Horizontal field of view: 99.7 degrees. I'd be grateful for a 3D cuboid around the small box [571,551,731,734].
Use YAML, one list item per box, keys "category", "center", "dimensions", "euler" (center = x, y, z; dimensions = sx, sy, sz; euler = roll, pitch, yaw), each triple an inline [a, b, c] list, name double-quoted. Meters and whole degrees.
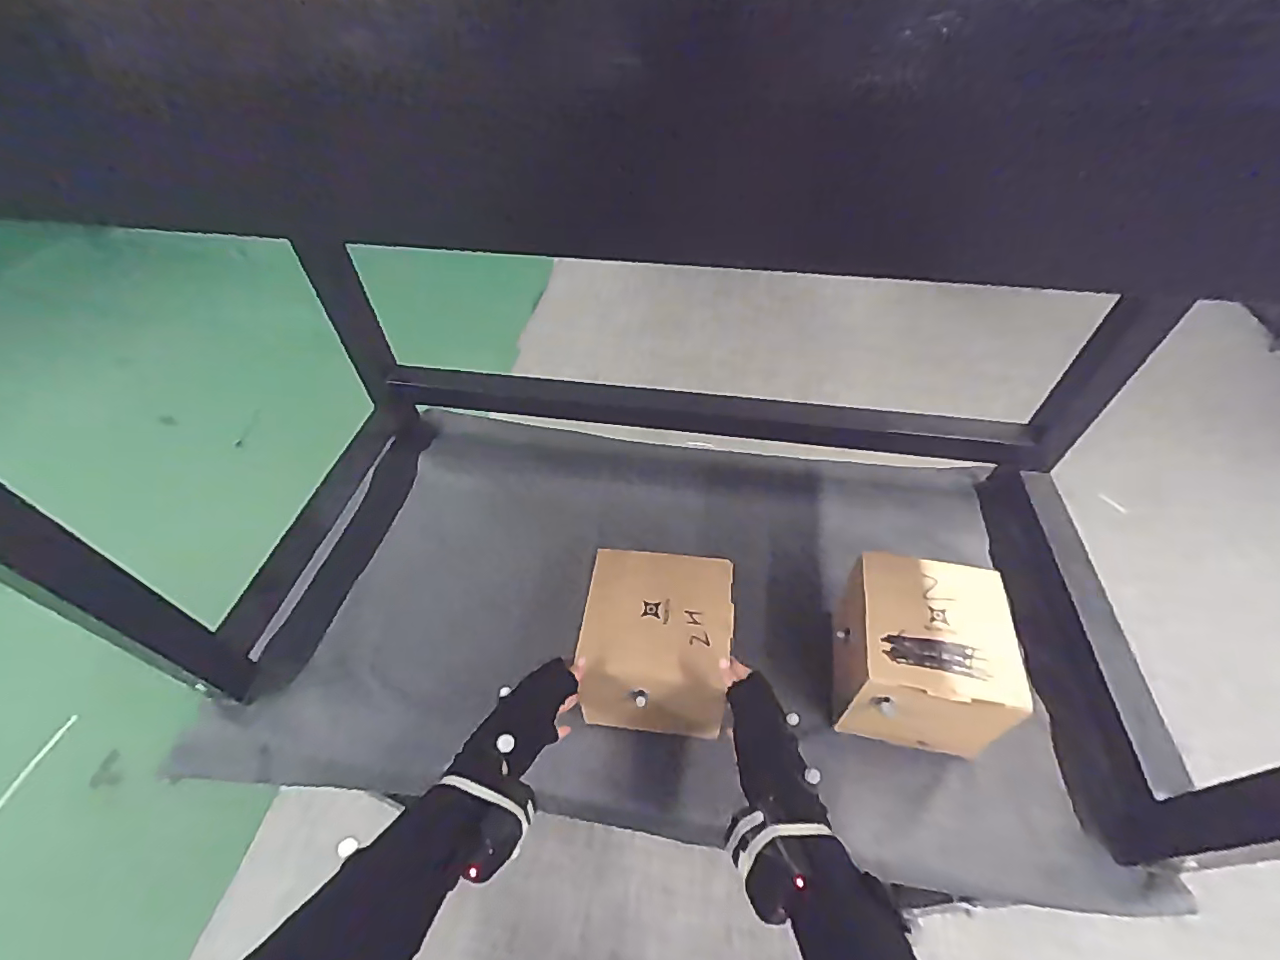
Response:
- category: "small box"
  center: [0.021, 0.212, 0.701]
  dimensions: [0.179, 0.176, 0.168]
  euler: [5, 49, 6]
